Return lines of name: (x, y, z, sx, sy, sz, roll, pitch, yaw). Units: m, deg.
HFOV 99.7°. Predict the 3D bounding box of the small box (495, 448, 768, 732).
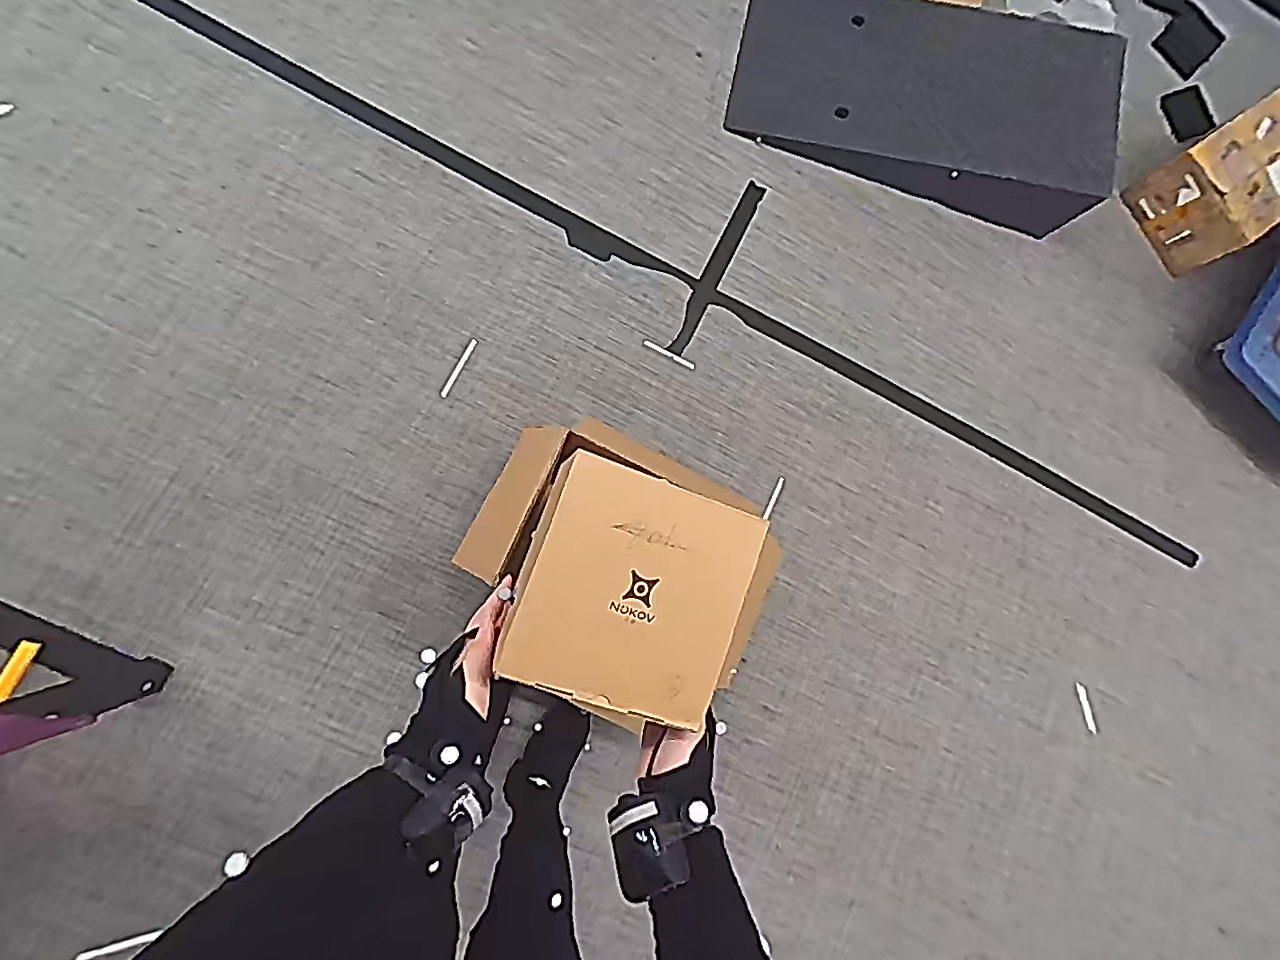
small box: (-0.016, 0.087, 0.487, 0.168, 0.176, 0.179, 22, 84, -11)
